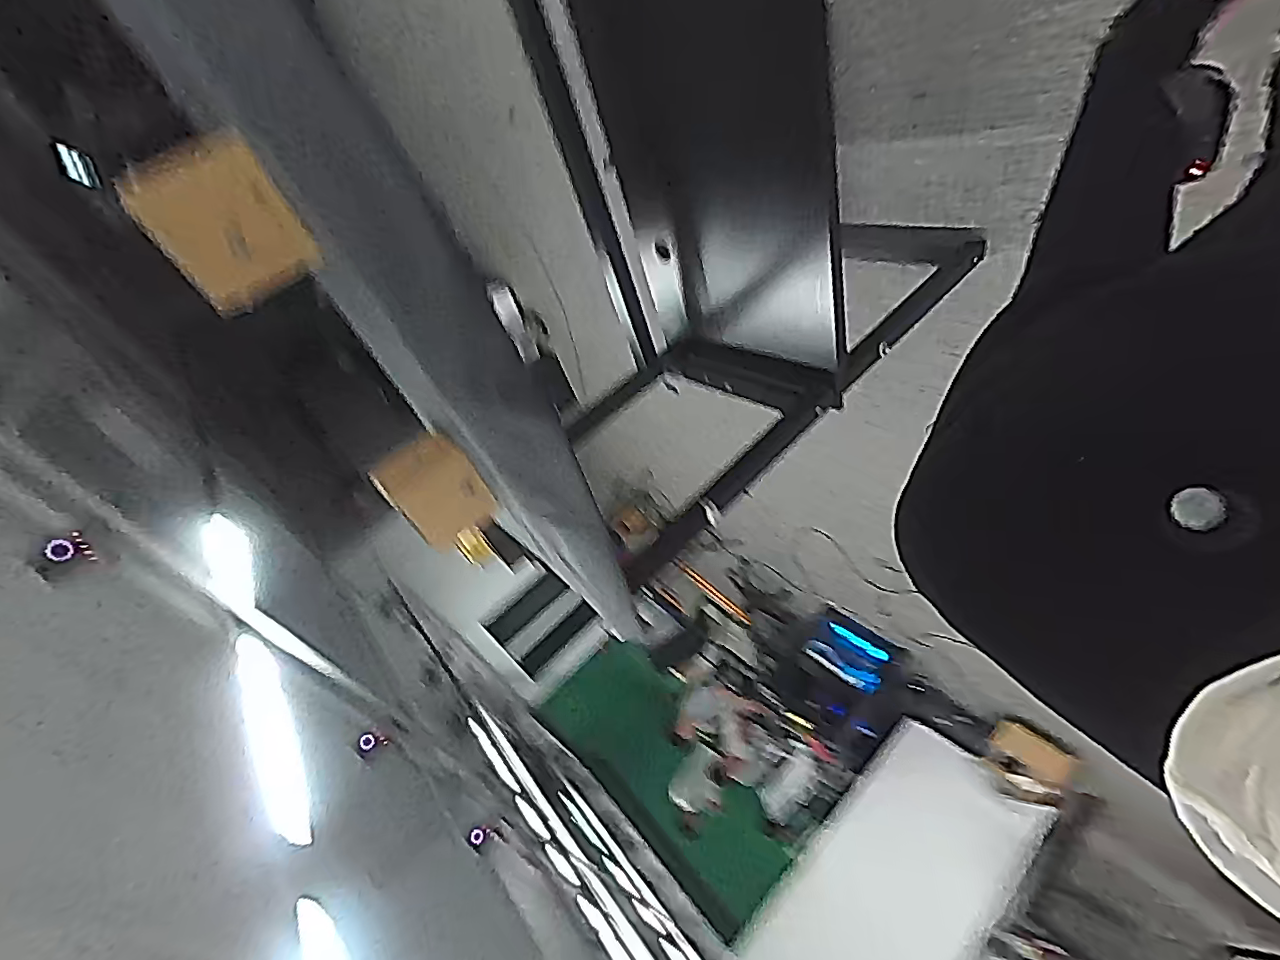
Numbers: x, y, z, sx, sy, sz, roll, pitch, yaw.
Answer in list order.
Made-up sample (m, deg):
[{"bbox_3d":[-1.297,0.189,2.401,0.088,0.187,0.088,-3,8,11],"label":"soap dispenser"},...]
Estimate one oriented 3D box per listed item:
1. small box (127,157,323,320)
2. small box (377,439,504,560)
[{"bbox_3d":[-0.624,-0.370,0.826,0.179,0.176,0.168,29,153,44],"label":"small box"},{"bbox_3d":[-0.433,0.036,1.188,0.168,0.176,0.179,28,151,45],"label":"small box"}]
